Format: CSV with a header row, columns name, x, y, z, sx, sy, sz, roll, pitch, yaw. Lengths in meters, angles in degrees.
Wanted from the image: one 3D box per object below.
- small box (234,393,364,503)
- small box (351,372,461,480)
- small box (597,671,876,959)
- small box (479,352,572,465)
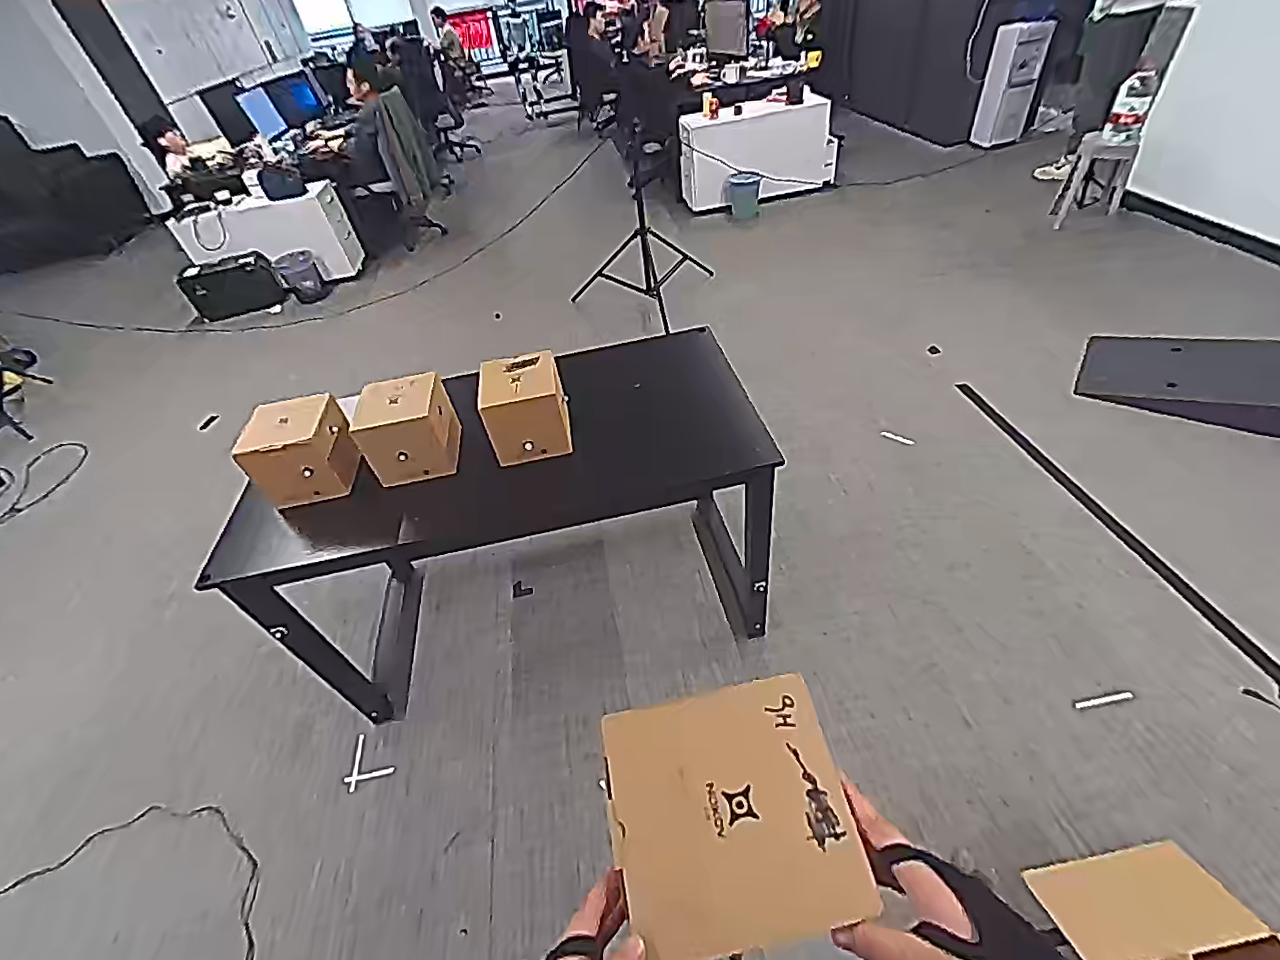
name,x,y,z,sx,sy,sz,roll,pitch,yaw
small box,-0.749,-0.066,1.213,0.168,0.176,0.179,-11,43,-3
small box,-0.514,-0.115,1.220,0.168,0.176,0.179,-11,44,-2
small box,0.070,0.286,0.471,0.179,0.176,0.168,-11,56,-2
small box,-0.253,-0.161,1.223,0.168,0.176,0.179,-12,44,-2
